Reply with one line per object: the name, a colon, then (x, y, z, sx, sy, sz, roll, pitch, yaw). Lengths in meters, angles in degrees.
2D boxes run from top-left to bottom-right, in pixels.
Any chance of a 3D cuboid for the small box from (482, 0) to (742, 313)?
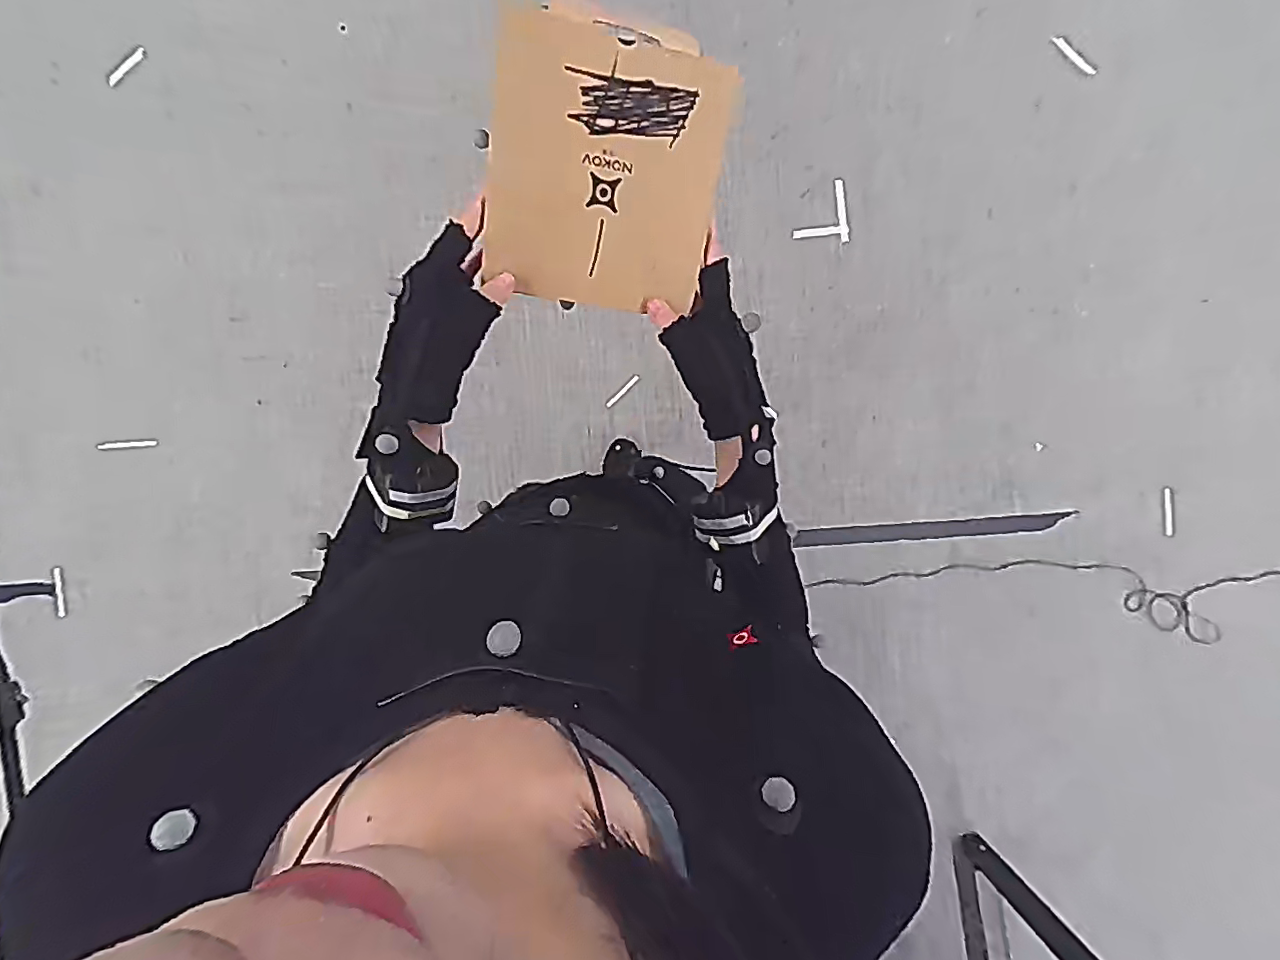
small box: (-0.039, -0.251, 0.450, 0.168, 0.176, 0.179, 5, 113, -15)
